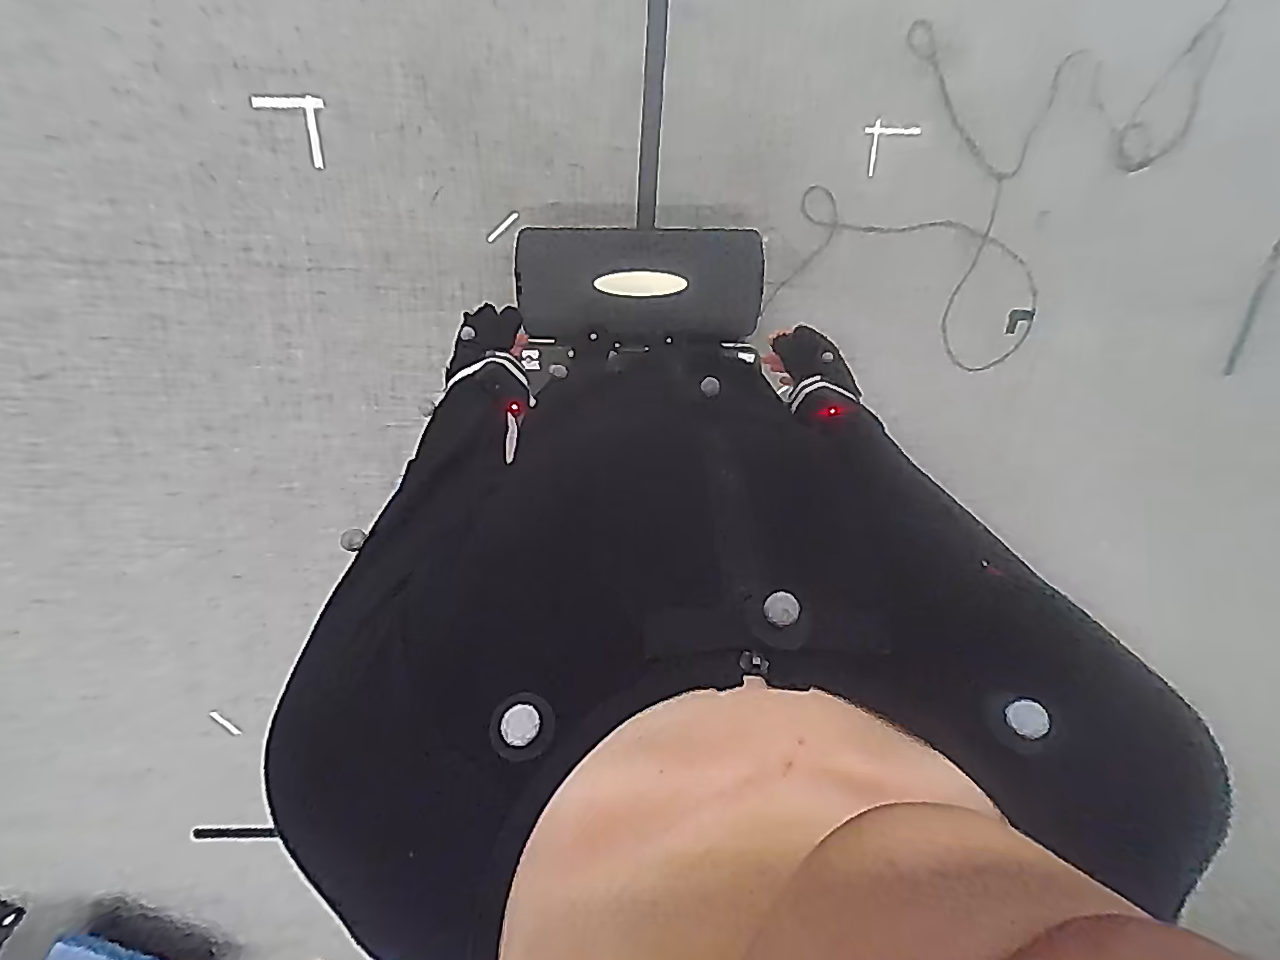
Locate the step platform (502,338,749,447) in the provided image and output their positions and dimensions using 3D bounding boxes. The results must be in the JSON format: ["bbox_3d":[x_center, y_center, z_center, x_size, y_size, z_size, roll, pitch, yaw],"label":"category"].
[{"bbox_3d":[-0.040,-0.247,1.528,0.684,0.204,0.286,0,108,-2],"label":"step platform"}]
